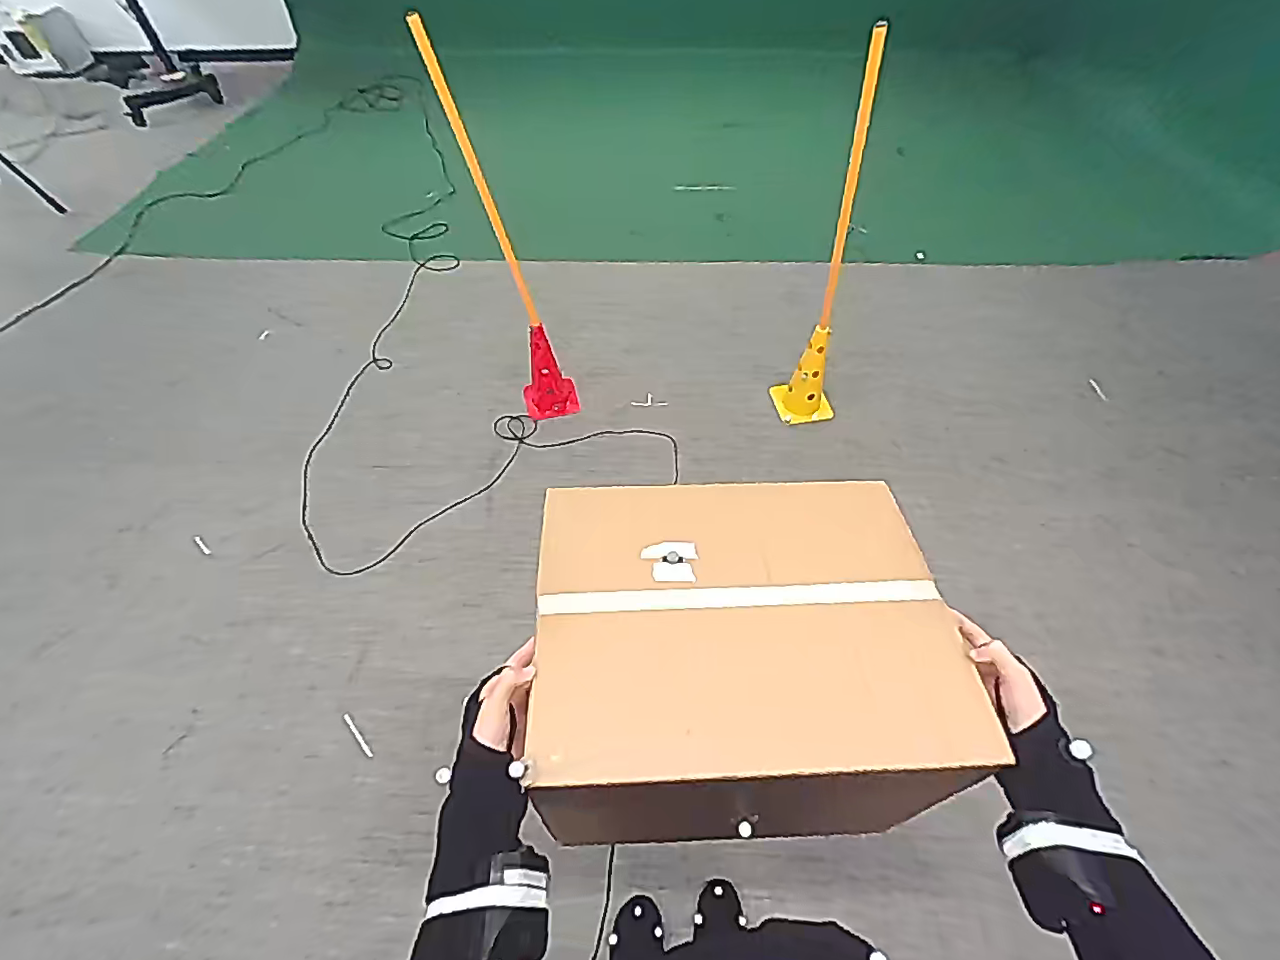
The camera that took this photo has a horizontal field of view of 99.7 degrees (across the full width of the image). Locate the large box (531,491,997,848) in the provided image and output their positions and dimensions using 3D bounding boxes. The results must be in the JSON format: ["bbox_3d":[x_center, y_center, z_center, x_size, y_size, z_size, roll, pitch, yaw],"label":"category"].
[{"bbox_3d":[0.101,0.235,0.658,0.408,0.320,0.320,-2,48,-2],"label":"large box"}]
